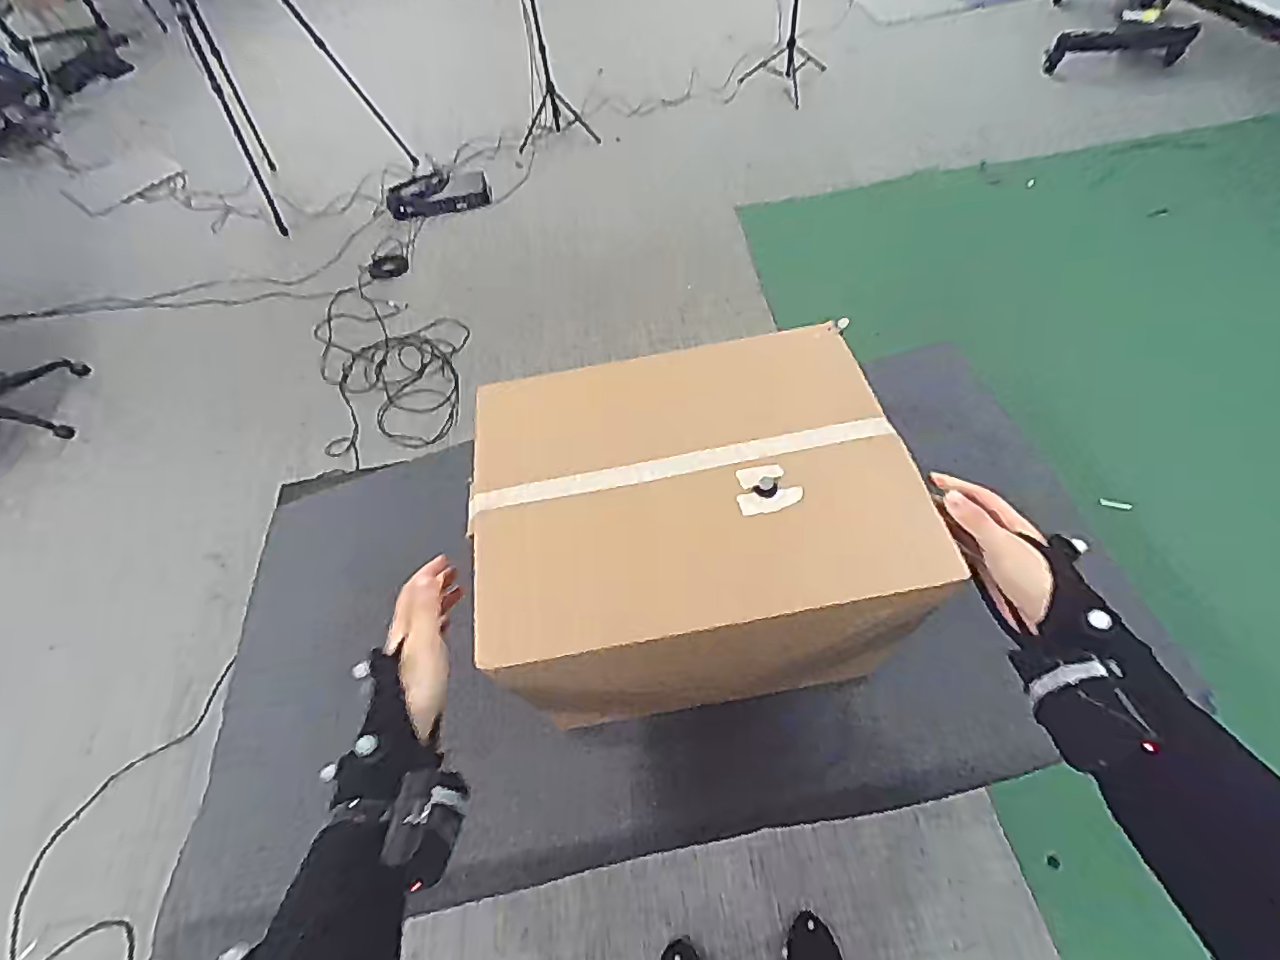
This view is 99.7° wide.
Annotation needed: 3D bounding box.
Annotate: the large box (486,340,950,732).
[{"bbox_3d":[0.057,0.081,0.656,0.408,0.320,0.320,-11,57,-1],"label":"large box"}]
